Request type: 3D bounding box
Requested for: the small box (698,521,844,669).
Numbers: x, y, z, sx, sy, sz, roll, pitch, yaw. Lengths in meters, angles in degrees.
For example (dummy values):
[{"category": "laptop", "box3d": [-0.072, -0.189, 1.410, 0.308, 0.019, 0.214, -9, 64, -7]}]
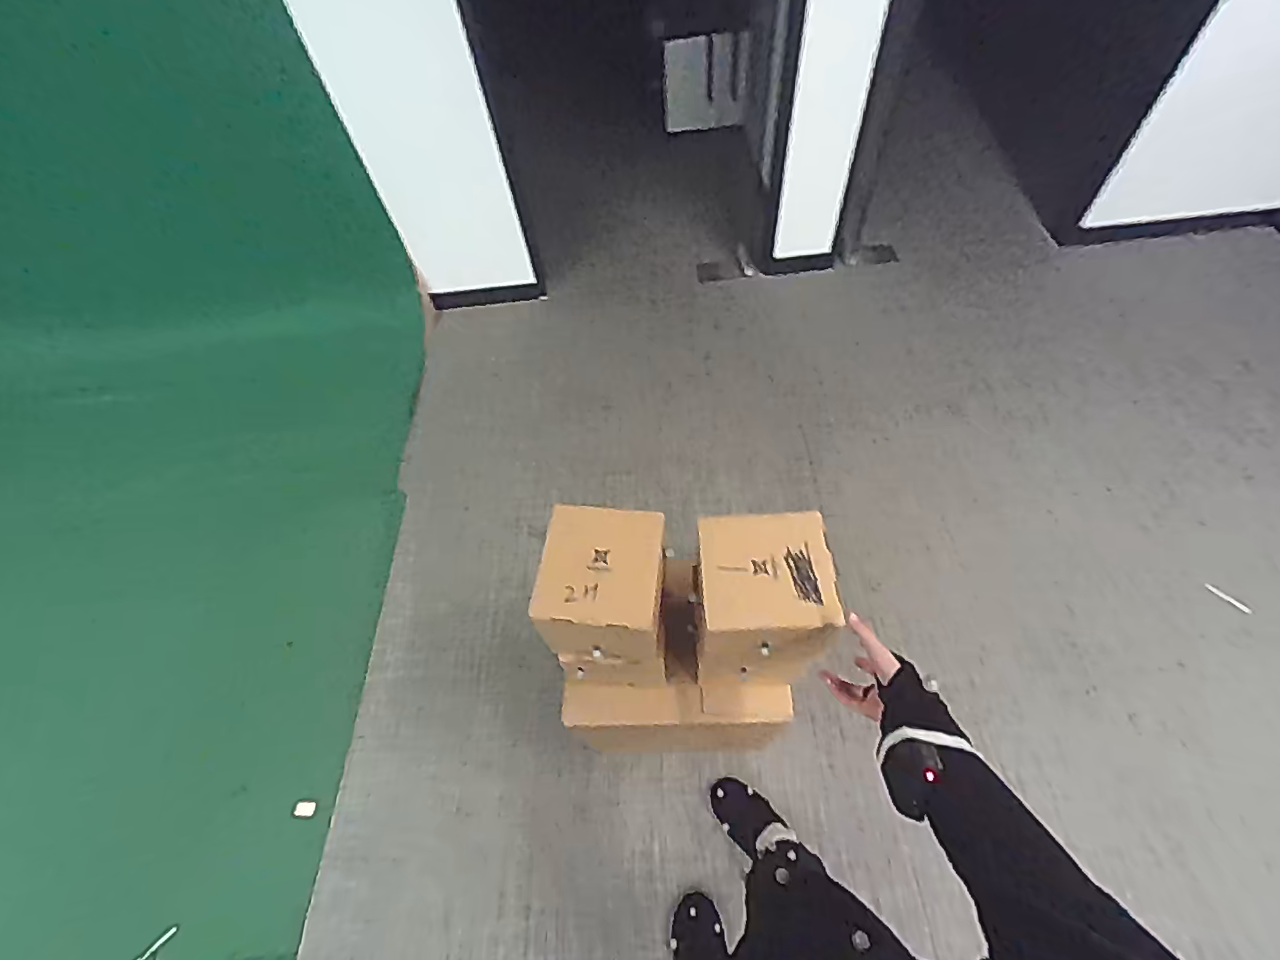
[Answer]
[{"category": "small box", "box3d": [0.176, 0.172, 0.789, 0.179, 0.176, 0.168, -3, 56, 5]}]
